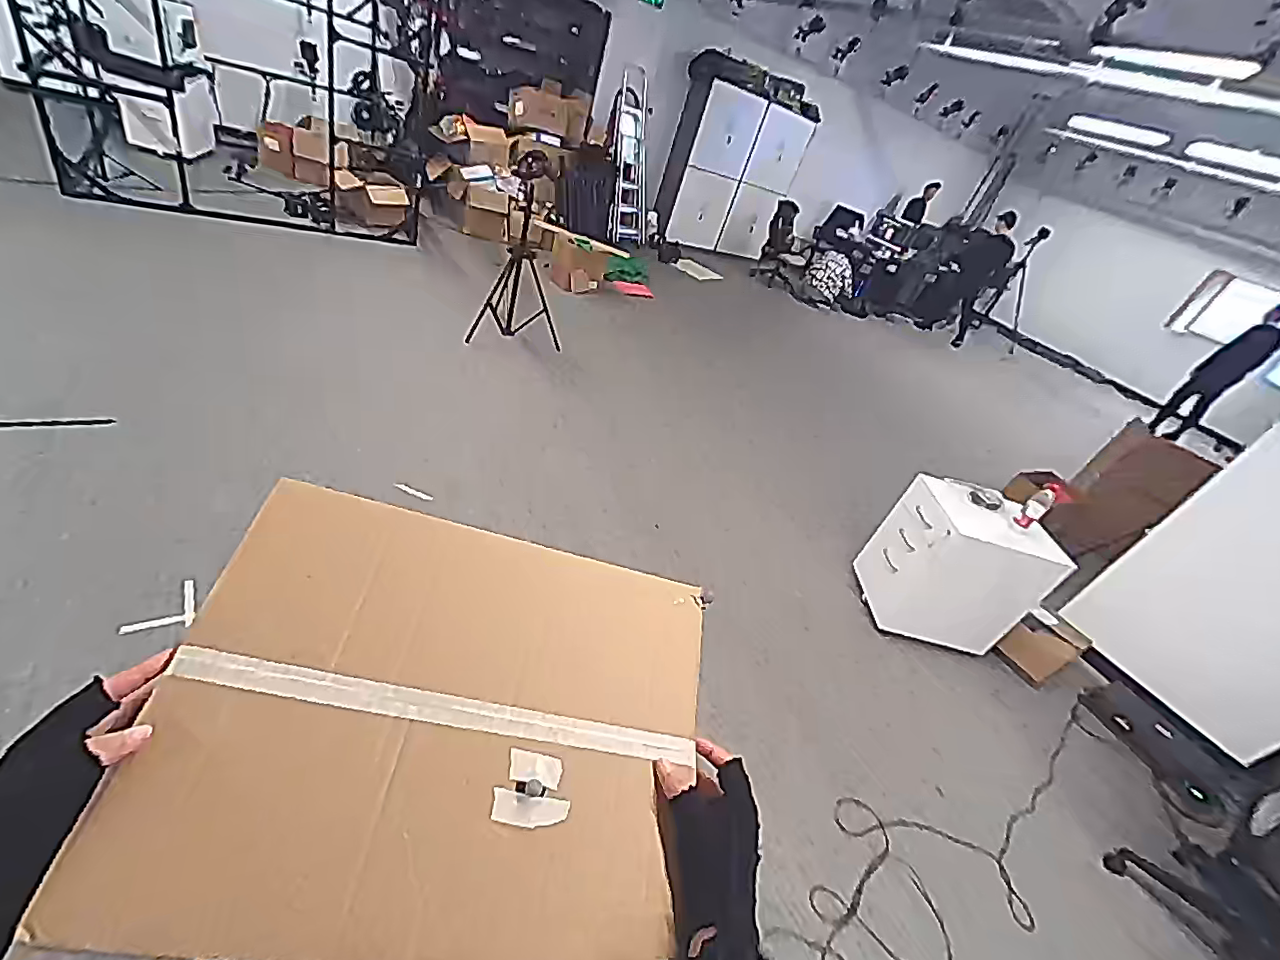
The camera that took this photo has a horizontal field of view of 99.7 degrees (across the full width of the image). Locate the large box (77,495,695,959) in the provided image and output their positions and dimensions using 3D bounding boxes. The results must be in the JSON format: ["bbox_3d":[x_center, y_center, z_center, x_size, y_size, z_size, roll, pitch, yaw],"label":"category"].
[{"bbox_3d":[-0.194,0.264,0.569,0.408,0.320,0.320,18,56,-14],"label":"large box"}]
